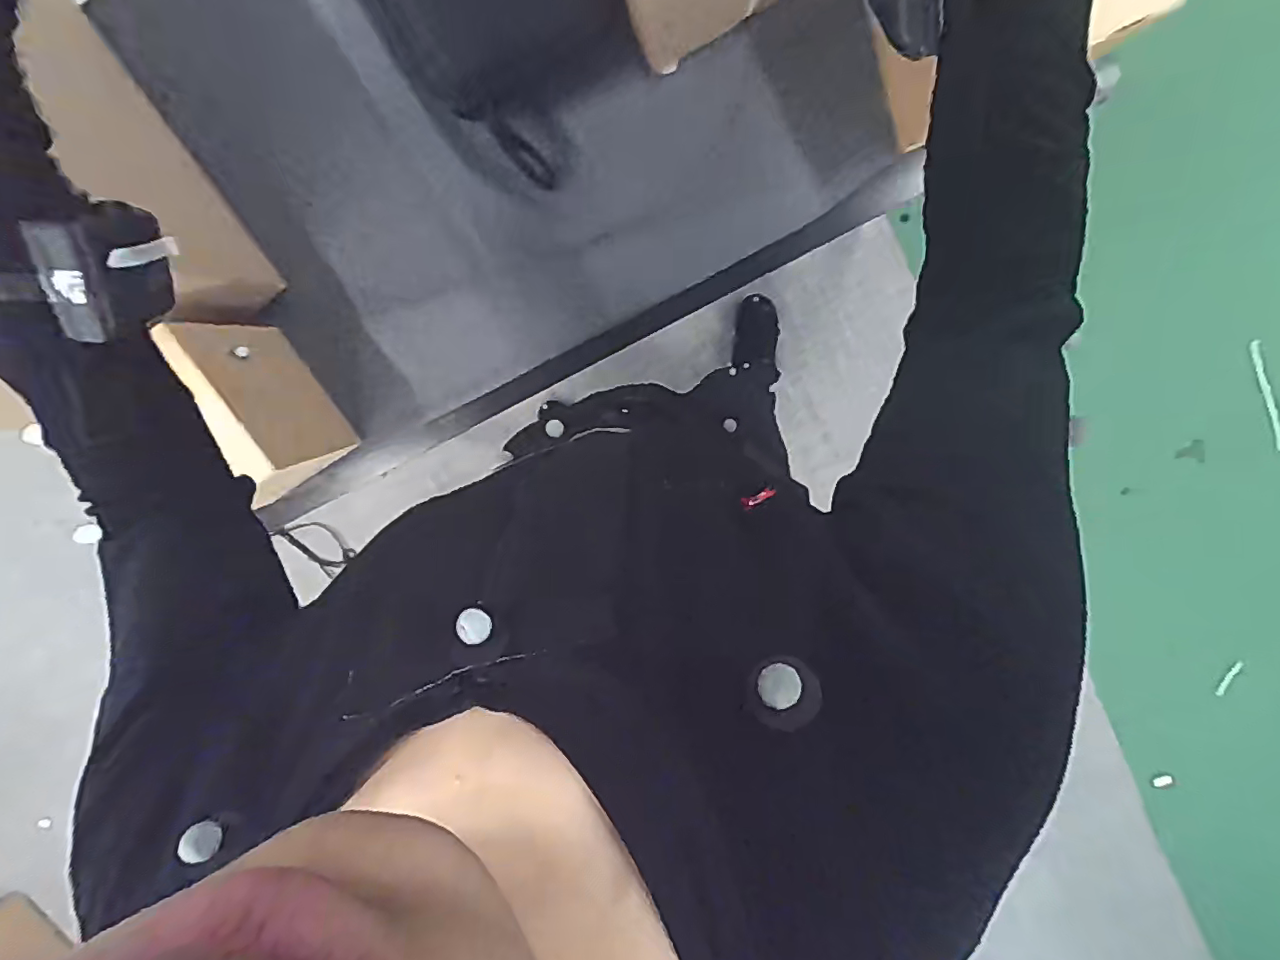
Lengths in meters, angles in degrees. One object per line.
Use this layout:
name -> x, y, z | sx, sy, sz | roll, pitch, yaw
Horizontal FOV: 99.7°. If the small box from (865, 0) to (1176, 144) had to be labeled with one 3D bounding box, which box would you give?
small box -> 0.333, -0.457, 0.505 | 0.168, 0.176, 0.179 | -21, 106, 8
